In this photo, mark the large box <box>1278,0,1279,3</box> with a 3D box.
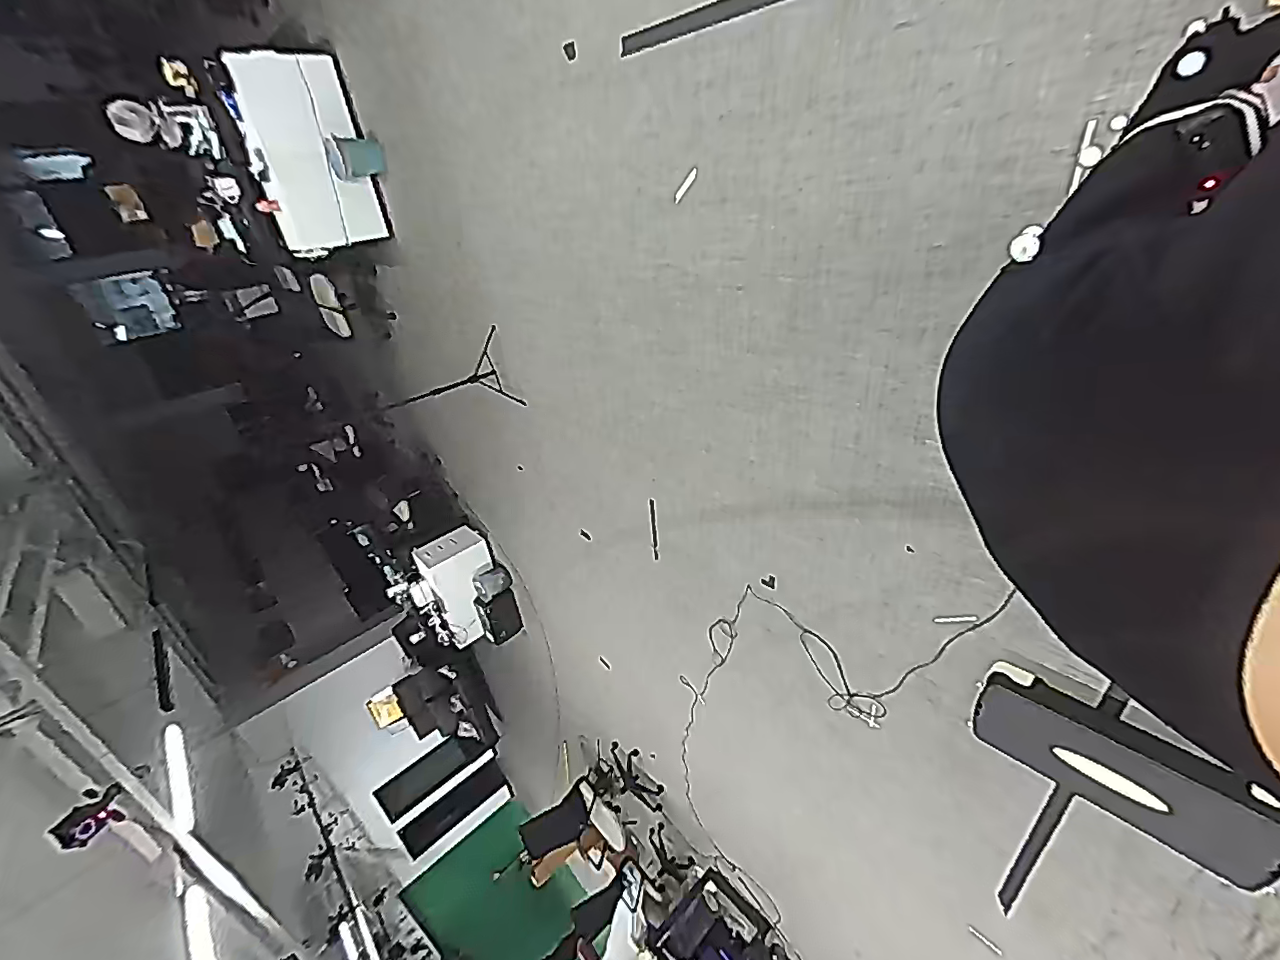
[{"bbox_3d":[1.019,-0.739,0.558,0.408,0.320,0.320,23,132,42],"label":"large box"}]
